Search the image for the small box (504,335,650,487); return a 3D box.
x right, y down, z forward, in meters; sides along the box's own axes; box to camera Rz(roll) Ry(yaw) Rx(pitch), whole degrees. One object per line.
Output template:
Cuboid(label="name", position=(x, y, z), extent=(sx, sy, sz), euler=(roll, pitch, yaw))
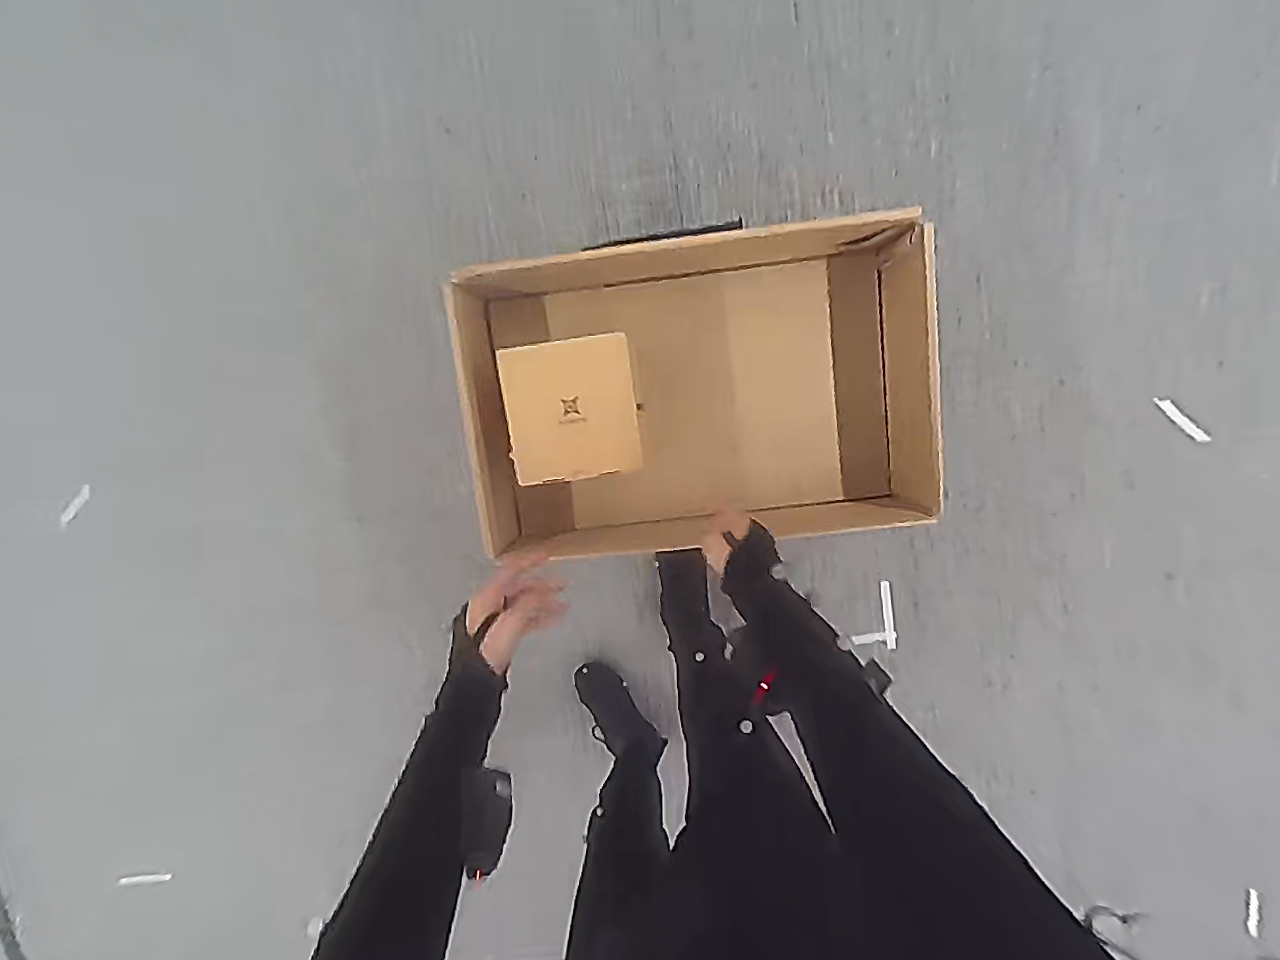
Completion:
Cuboid(label="small box", position=(-0.077, -0.095, 0.758), extent=(0.168, 0.176, 0.179), euler=(-8, 98, 3))
